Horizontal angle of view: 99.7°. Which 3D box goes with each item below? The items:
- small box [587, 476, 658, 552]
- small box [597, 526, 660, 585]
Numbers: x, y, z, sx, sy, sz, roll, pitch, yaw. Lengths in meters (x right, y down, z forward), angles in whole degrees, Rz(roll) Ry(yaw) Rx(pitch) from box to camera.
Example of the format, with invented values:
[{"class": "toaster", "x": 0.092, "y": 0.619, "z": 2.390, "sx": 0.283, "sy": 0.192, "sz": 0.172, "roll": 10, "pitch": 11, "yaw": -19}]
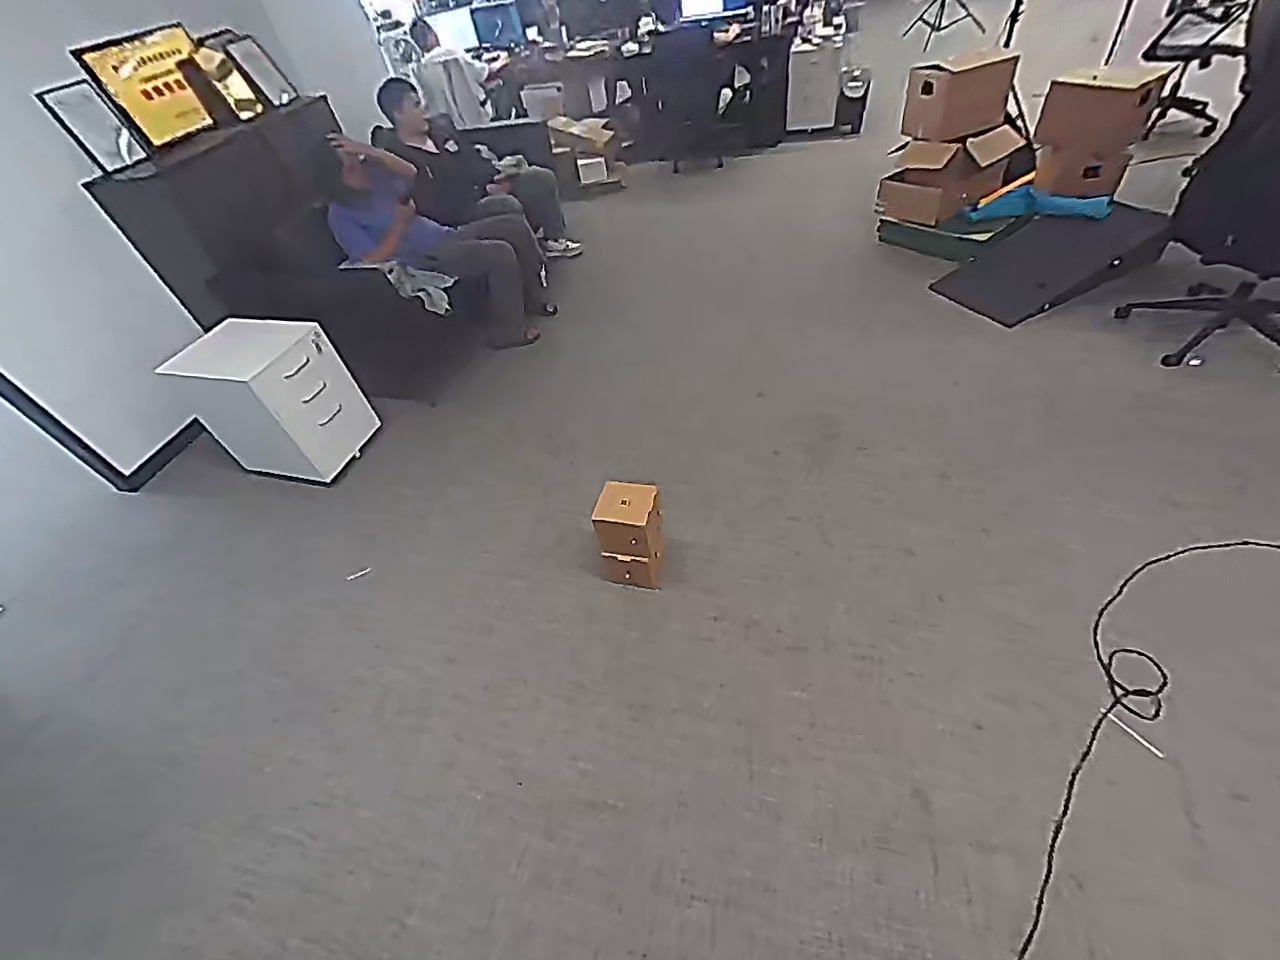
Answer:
[{"class": "small box", "x": -0.048, "y": 0.111, "z": 1.722, "sx": 0.179, "sy": 0.176, "sz": 0.168, "roll": 5, "pitch": 47, "yaw": 16}, {"class": "small box", "x": -0.032, "y": 0.238, "z": 1.851, "sx": 0.168, "sy": 0.176, "sz": 0.179, "roll": 4, "pitch": 48, "yaw": 15}]
